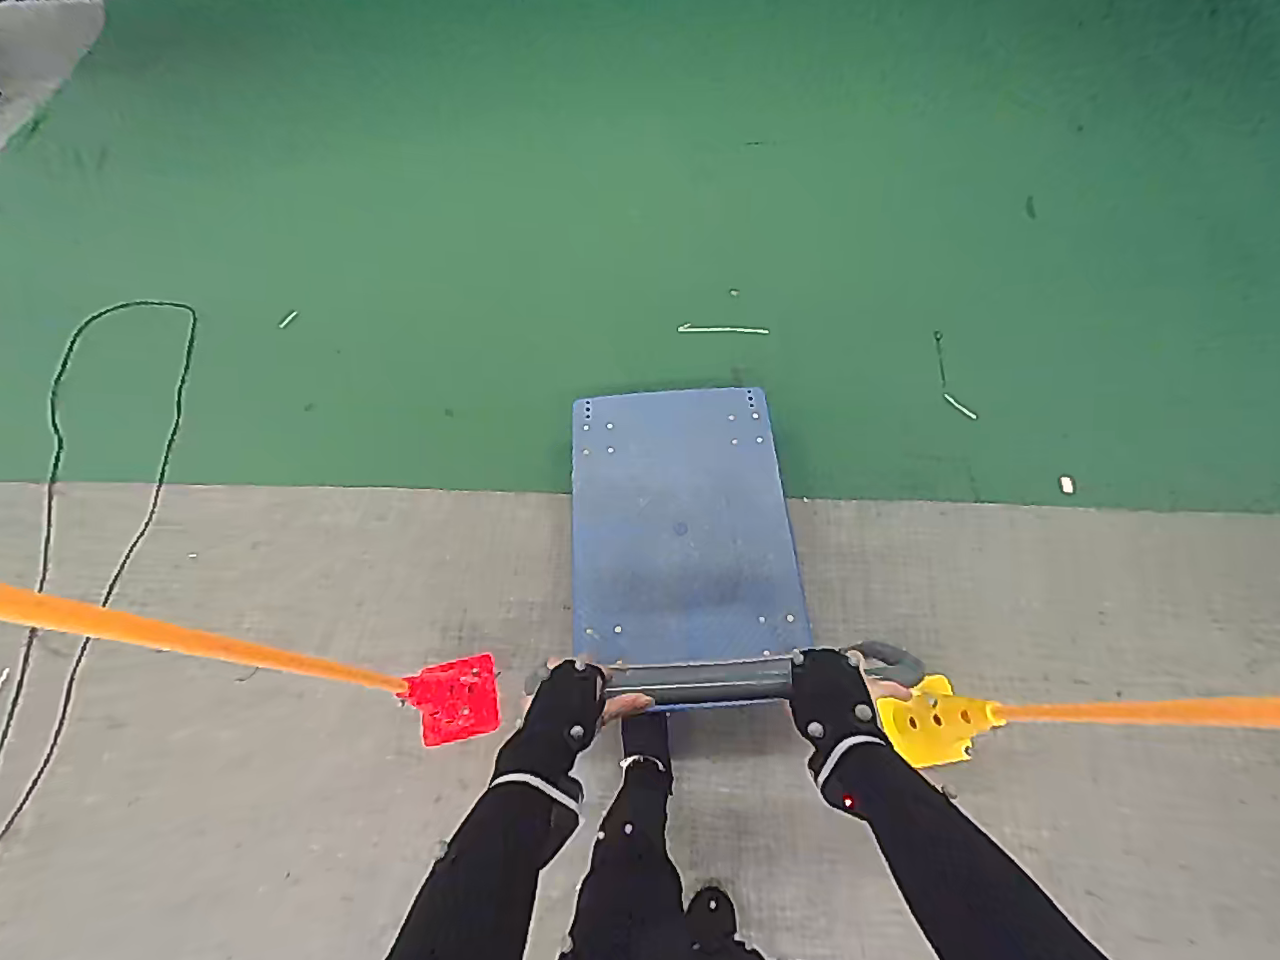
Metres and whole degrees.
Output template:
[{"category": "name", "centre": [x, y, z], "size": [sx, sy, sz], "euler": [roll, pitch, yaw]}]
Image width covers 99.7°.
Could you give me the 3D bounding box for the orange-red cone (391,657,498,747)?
[{"category": "orange-red cone", "centre": [-0.485, 0.505, 1.265], "size": [0.199, 0.360, 0.198], "euler": [-12, 64, -2]}]
